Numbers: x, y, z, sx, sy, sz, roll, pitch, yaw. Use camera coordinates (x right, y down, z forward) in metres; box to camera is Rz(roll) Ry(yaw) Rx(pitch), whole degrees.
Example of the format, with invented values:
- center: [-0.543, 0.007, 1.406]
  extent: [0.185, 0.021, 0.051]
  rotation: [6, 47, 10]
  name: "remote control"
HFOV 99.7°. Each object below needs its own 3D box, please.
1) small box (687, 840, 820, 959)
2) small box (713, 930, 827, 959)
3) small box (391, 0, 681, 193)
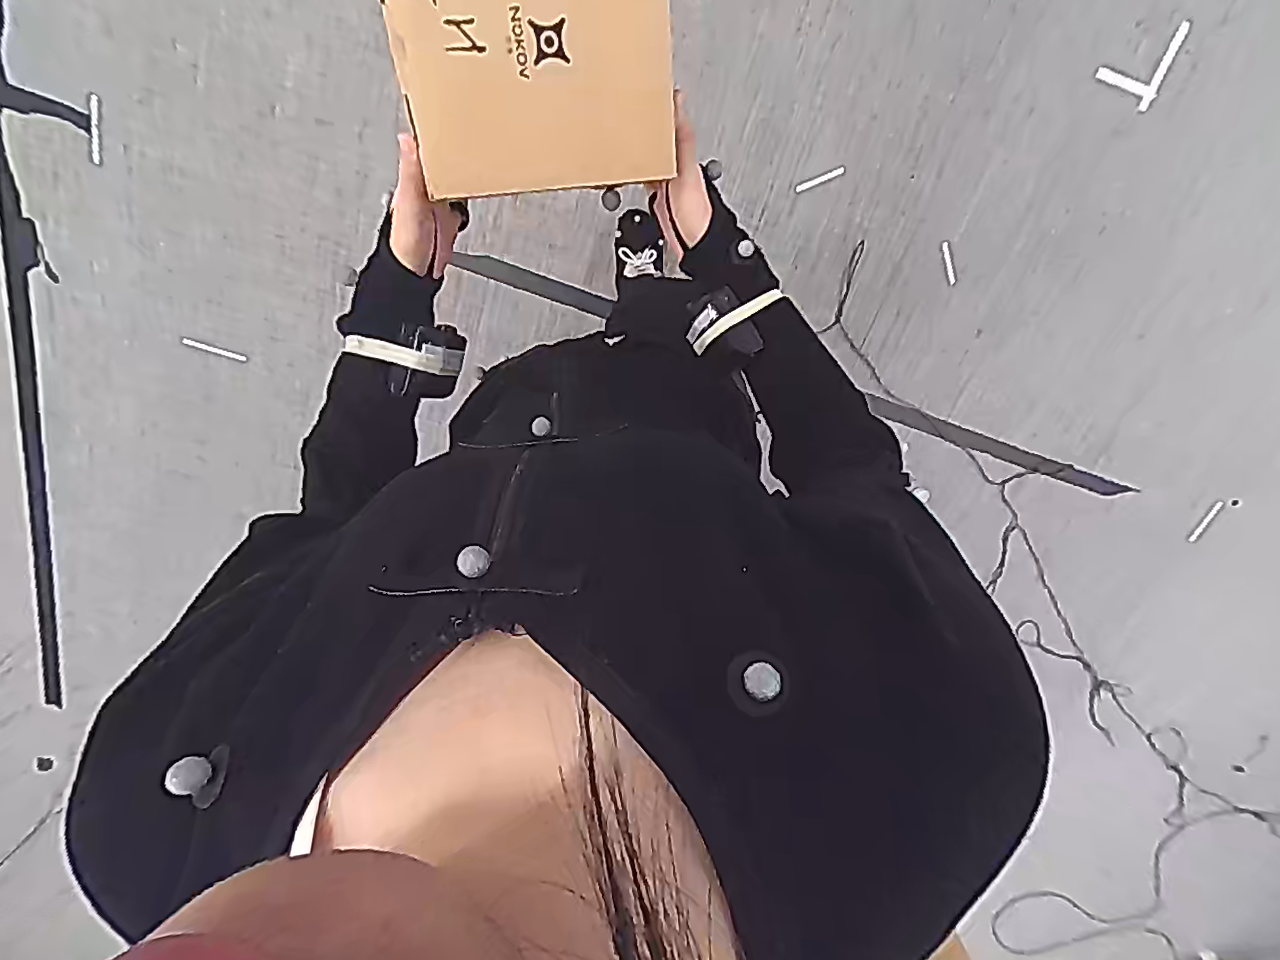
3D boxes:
- center: [0.200, 0.812, 1.009]
  extent: [0.179, 0.176, 0.168]
  rotation: [14, 110, -7]
  name: "small box"
- center: [0.212, 0.861, 0.854]
  extent: [0.179, 0.176, 0.168]
  rotation: [17, 109, -8]
  name: "small box"
- center: [-0.073, -0.316, 0.406]
  extent: [0.179, 0.176, 0.168]
  rotation: [-8, 119, -5]
  name: "small box"
